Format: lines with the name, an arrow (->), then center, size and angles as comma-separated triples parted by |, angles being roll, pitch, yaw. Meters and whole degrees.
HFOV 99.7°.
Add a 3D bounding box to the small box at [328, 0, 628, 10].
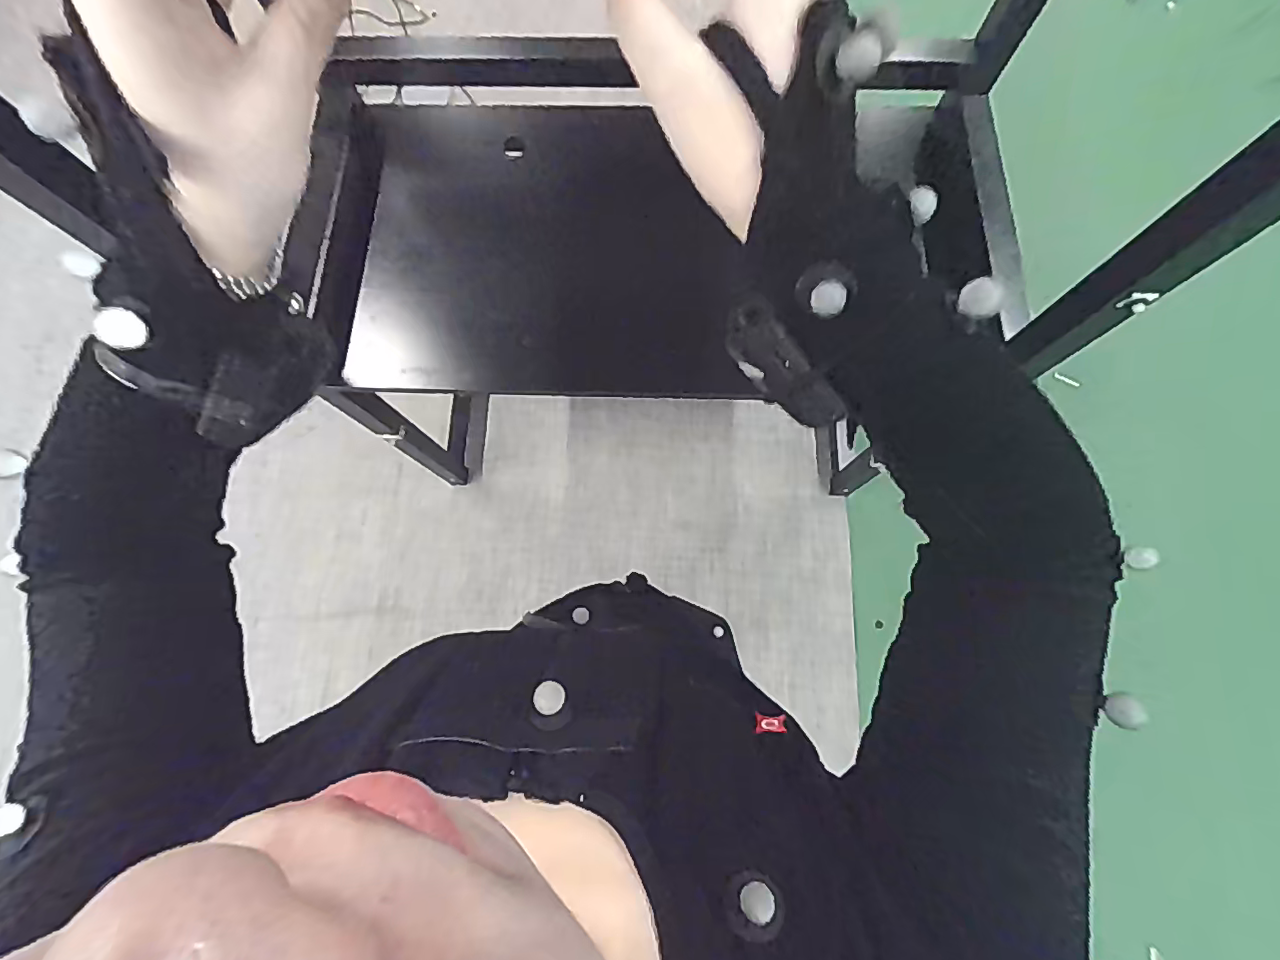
small box -> -0.061, -0.237, 0.109 | 0.179, 0.176, 0.168 | -1, 106, -2
